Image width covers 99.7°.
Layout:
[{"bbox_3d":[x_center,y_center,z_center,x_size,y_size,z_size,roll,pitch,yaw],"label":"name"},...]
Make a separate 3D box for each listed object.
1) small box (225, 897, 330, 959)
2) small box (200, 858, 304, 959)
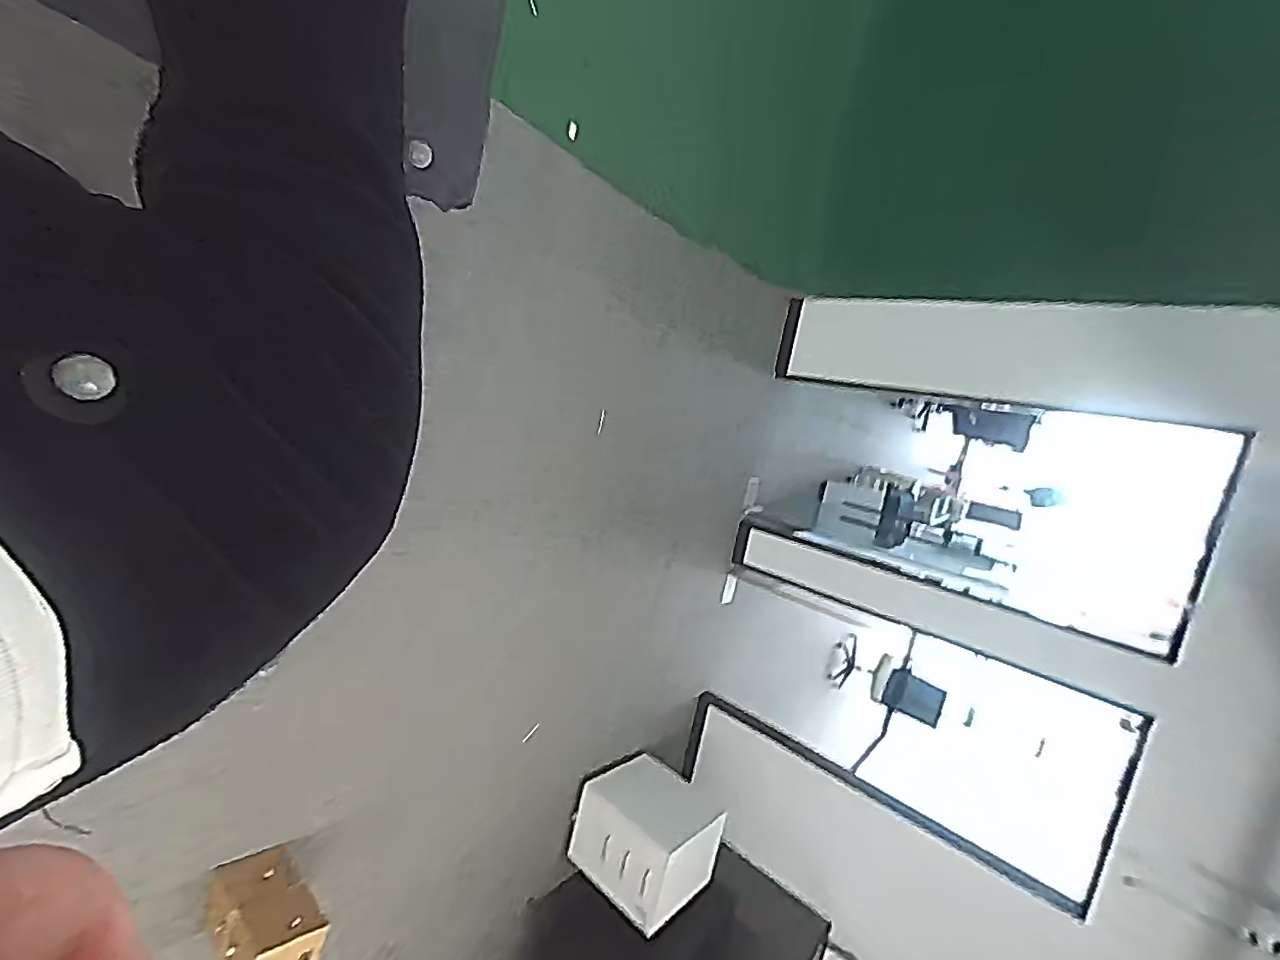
[{"bbox_3d":[-0.961,1.258,1.426,0.179,0.176,0.168,17,90,-52],"label":"small box"},{"bbox_3d":[-1.091,1.217,1.520,0.179,0.176,0.168,14,92,-53],"label":"small box"}]
